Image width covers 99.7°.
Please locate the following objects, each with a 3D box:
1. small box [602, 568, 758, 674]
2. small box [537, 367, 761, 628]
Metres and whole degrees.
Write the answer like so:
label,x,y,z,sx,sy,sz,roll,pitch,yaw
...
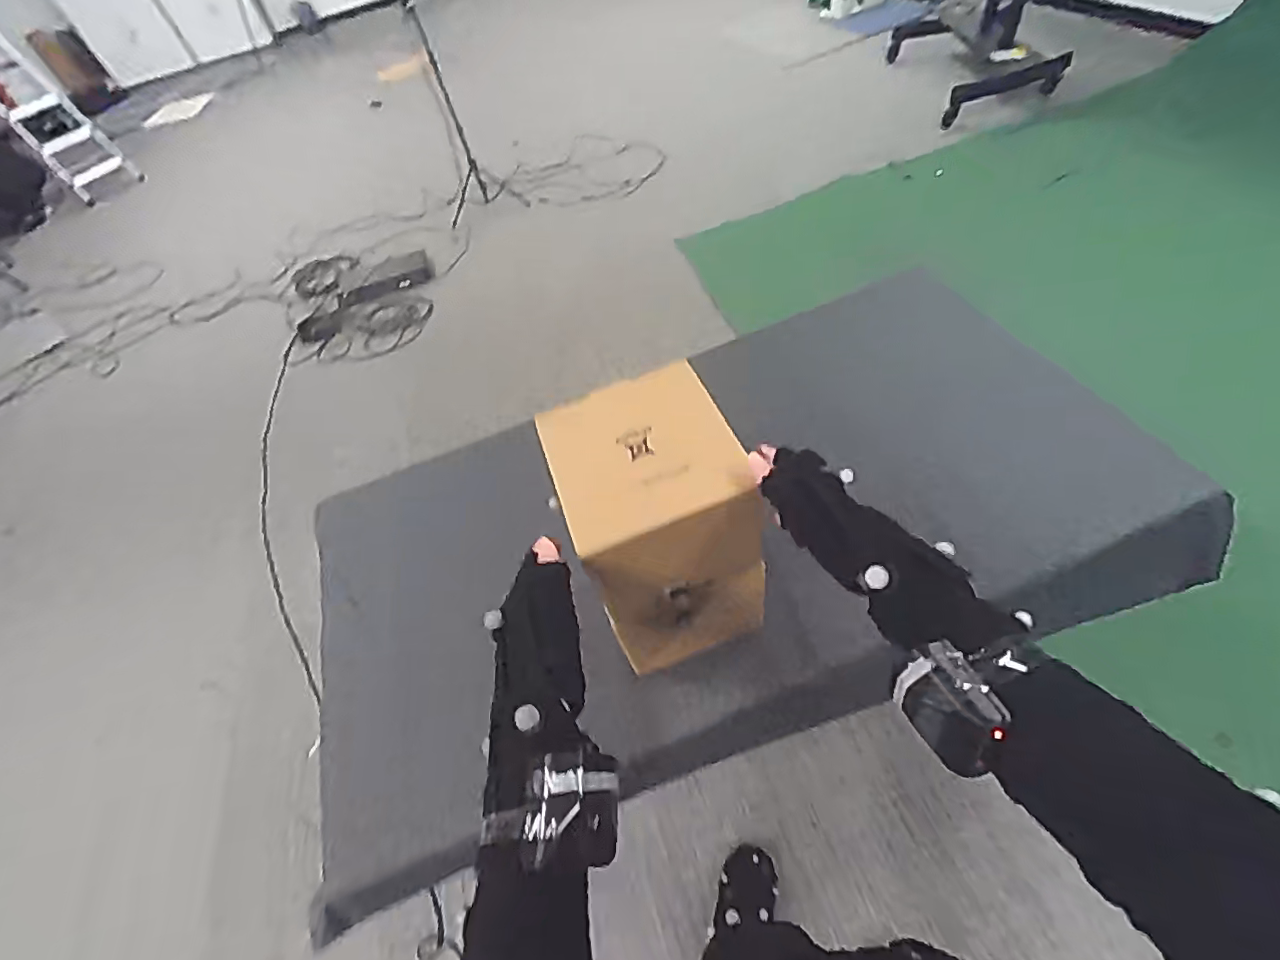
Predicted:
label,x,y,z,sx,sy,sz,roll,pitch,yaw
small box,0.041,0.127,0.699,0.179,0.176,0.168,-21,53,-5
small box,0.011,0.022,0.557,0.168,0.176,0.179,-22,53,-4
